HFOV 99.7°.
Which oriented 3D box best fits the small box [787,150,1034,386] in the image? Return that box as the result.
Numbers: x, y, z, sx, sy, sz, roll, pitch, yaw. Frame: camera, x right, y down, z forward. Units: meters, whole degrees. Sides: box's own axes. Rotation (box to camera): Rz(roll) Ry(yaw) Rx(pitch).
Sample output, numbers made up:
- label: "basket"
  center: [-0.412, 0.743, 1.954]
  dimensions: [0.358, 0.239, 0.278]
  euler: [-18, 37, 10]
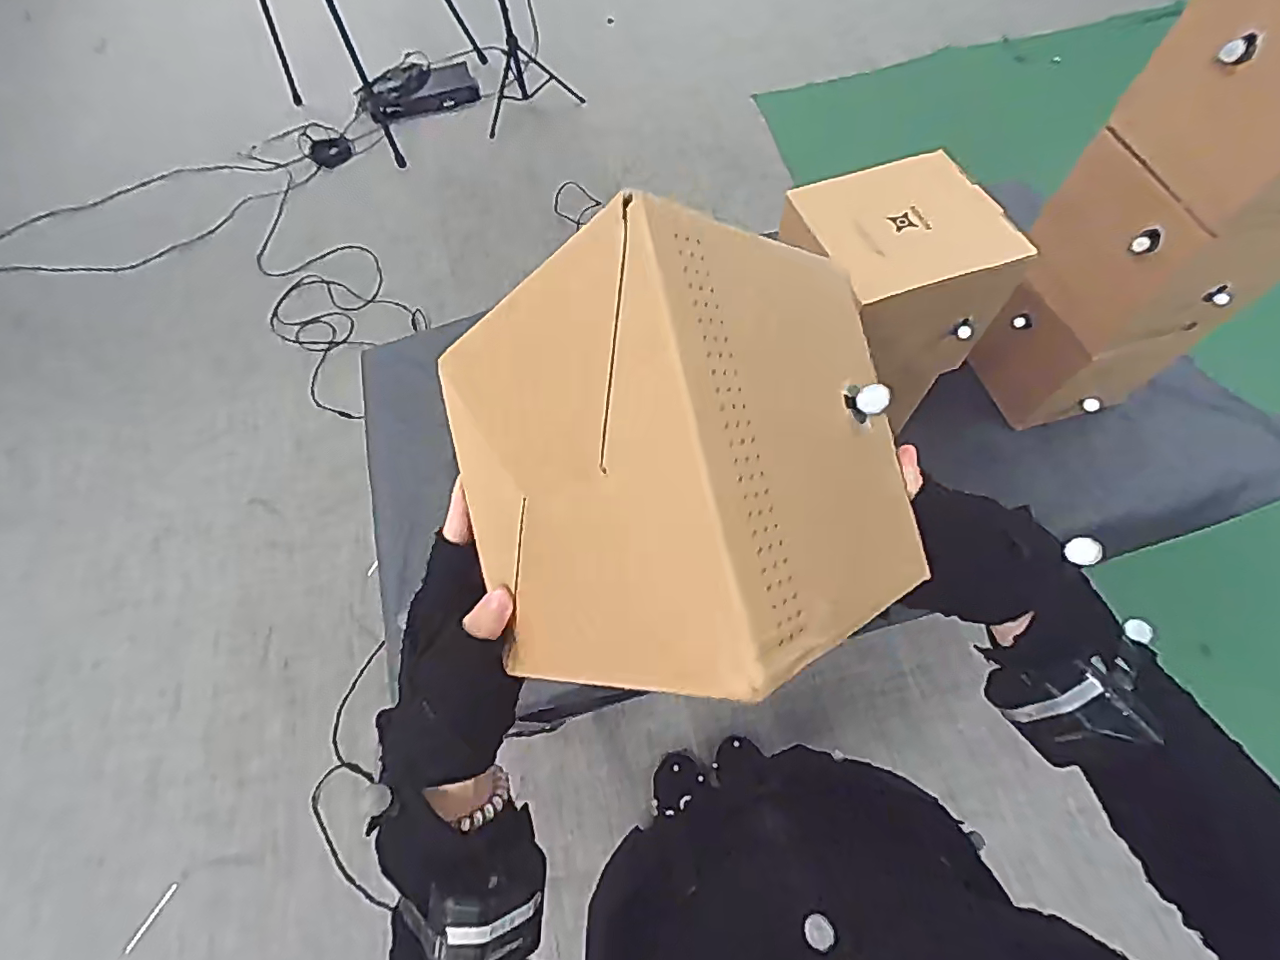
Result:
- label: "small box"
  center: [0.260, -0.213, 0.590]
  dimensions: [0.179, 0.176, 0.168]
  euler: [-17, 63, -4]

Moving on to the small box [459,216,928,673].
- label: "small box"
  center: [0.021, -0.009, 0.292]
  dimensions: [0.176, 0.168, 0.179]
  euler: [-12, 88, -42]

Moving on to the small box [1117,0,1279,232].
- label: "small box"
  center: [0.563, -0.340, 0.443]
  dimensions: [0.168, 0.176, 0.179]
  euler: [-11, 64, 0]

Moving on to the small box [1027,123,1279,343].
- label: "small box"
  center: [0.576, -0.271, 0.592]
  dimensions: [0.168, 0.176, 0.179]
  euler: [-13, 64, -1]
